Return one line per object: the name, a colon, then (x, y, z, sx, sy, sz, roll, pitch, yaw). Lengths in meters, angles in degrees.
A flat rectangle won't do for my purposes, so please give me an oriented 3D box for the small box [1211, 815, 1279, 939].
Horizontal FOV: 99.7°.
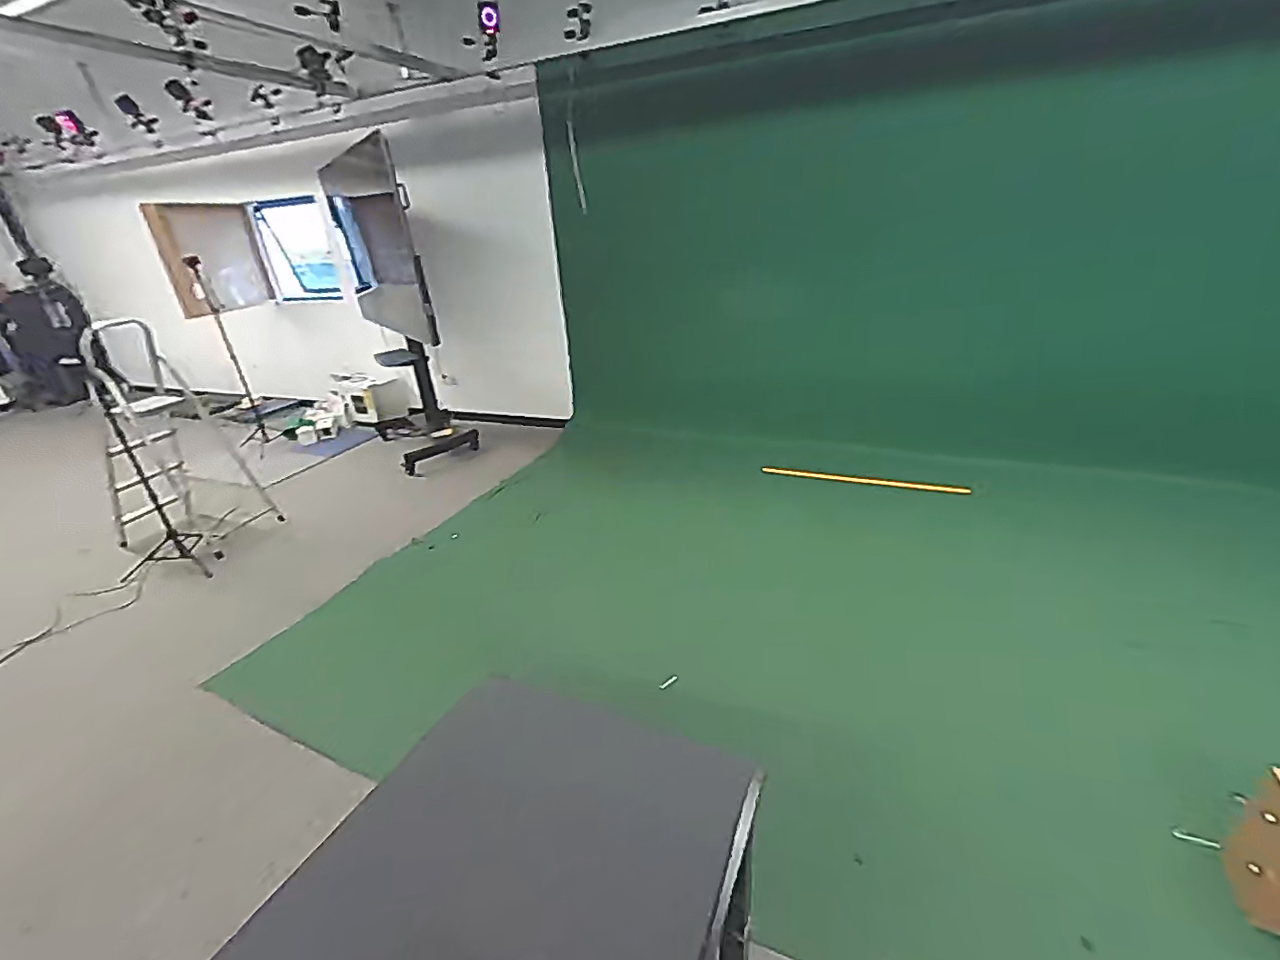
small box: (1.509, 0.947, 1.270, 0.168, 0.176, 0.179, 9, 28, 25)
